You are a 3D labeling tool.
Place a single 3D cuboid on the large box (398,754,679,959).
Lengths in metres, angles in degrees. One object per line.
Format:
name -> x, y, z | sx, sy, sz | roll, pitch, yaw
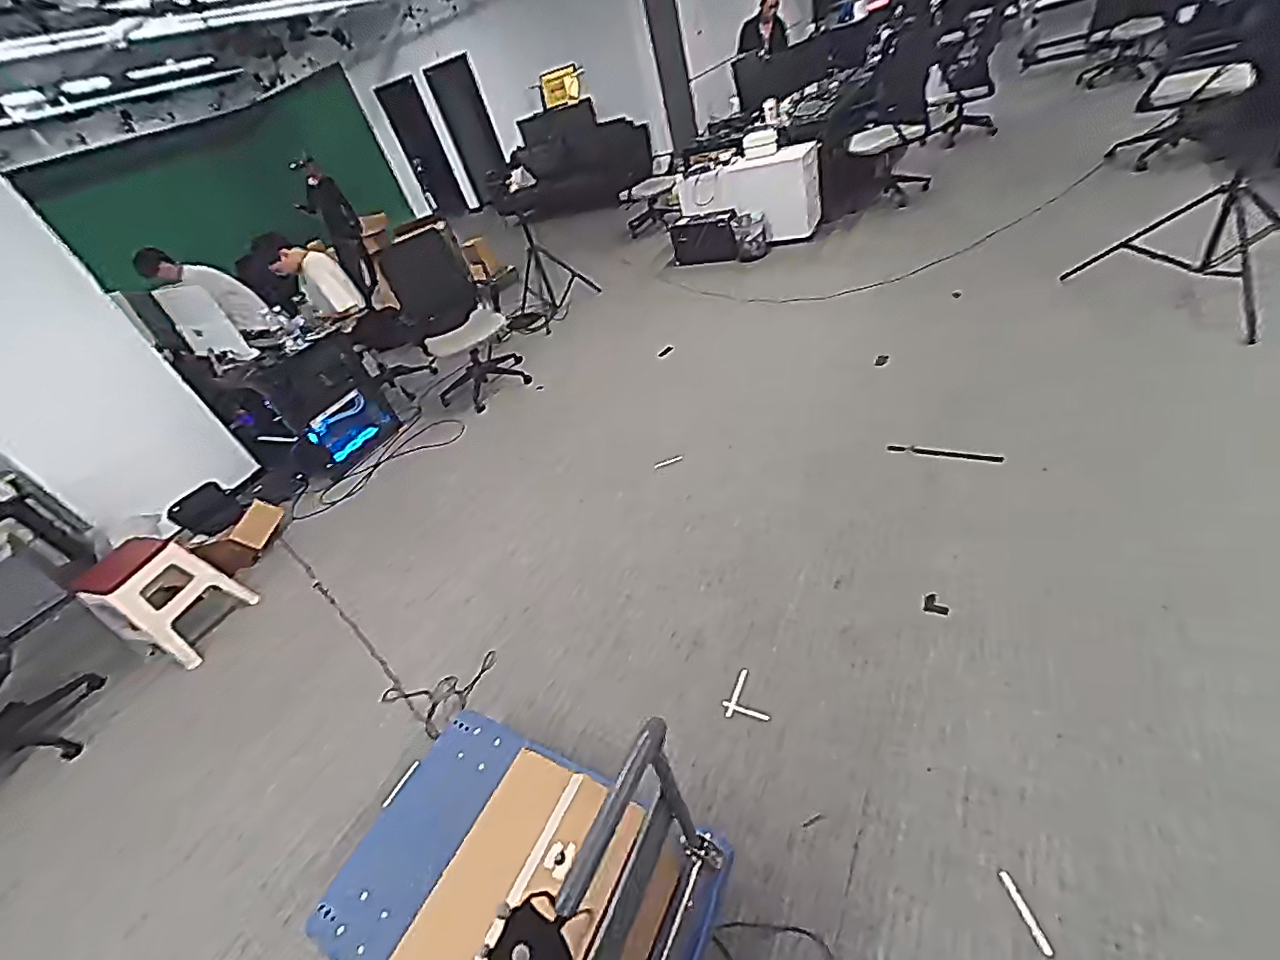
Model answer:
large box -> -0.167, 0.839, 1.038 | 0.320, 0.320, 0.408 | 9, 44, 30
